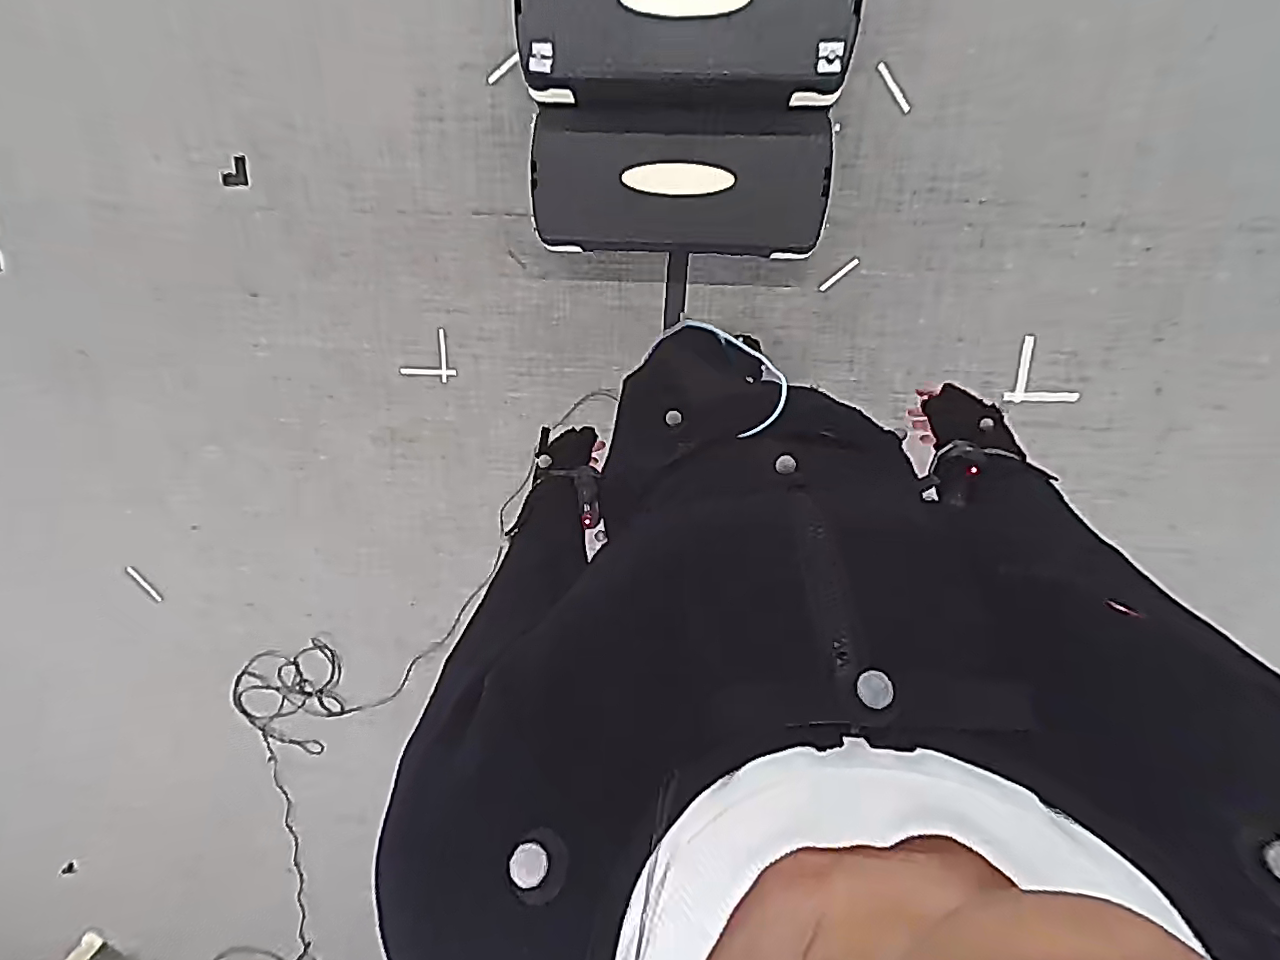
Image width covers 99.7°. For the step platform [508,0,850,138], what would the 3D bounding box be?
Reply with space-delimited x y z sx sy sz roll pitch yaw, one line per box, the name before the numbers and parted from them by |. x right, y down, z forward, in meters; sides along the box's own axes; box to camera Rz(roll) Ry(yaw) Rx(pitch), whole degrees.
step platform | 0.074 -0.910 1.131 0.684 0.204 0.286 2 106 4
